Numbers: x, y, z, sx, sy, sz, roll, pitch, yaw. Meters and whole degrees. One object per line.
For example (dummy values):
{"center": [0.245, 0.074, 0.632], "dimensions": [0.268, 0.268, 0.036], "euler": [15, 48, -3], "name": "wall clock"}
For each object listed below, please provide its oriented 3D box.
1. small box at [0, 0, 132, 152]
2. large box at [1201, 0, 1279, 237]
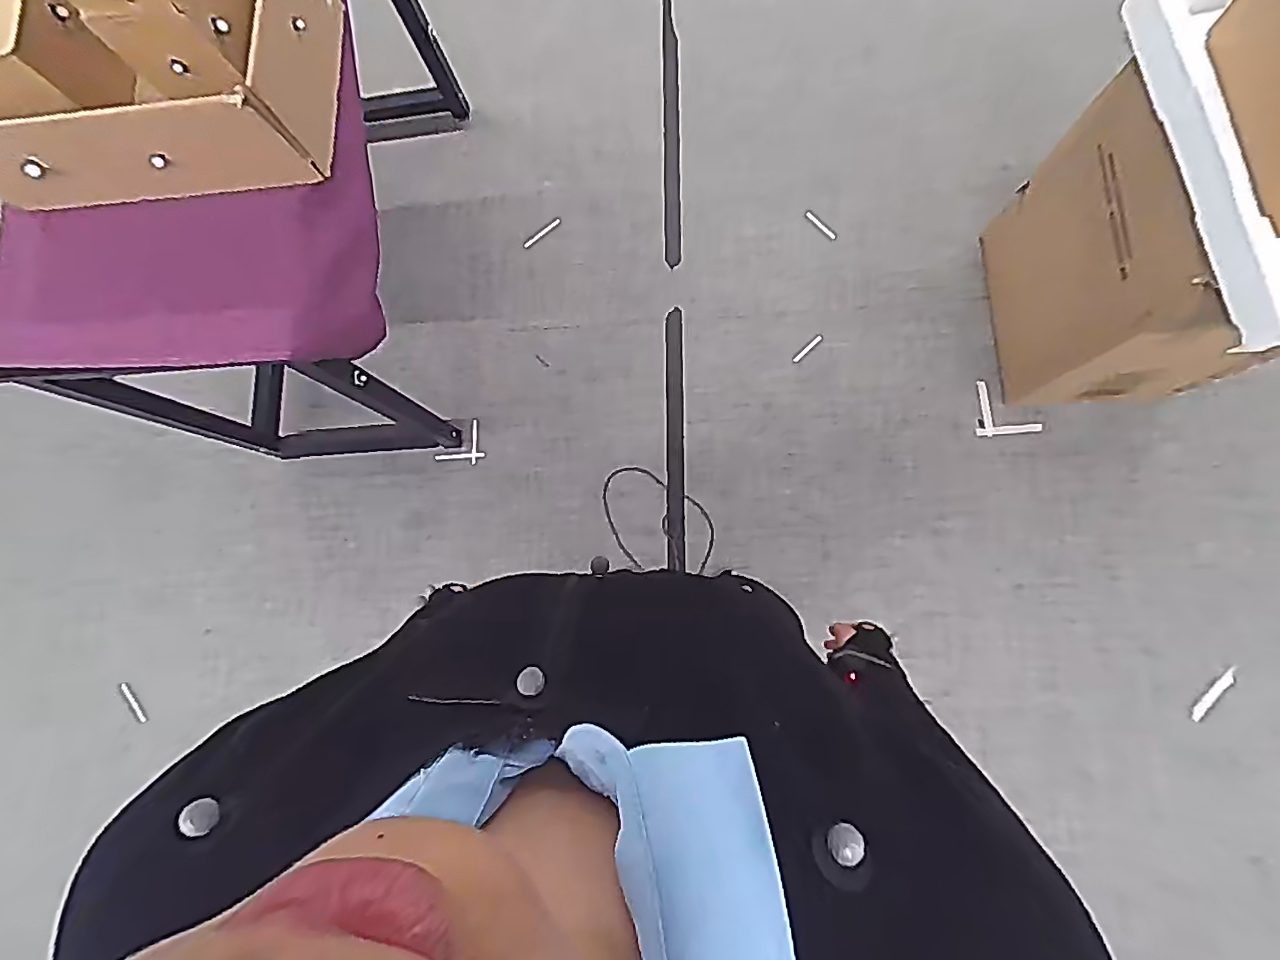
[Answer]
{"center": [-0.985, -0.677, 0.879], "dimensions": [0.168, 0.176, 0.179], "euler": [-5, 79, 3], "name": "small box"}
{"center": [1.113, -0.611, 0.734], "dimensions": [0.320, 0.320, 0.408], "euler": [-6, 78, 4], "name": "large box"}
